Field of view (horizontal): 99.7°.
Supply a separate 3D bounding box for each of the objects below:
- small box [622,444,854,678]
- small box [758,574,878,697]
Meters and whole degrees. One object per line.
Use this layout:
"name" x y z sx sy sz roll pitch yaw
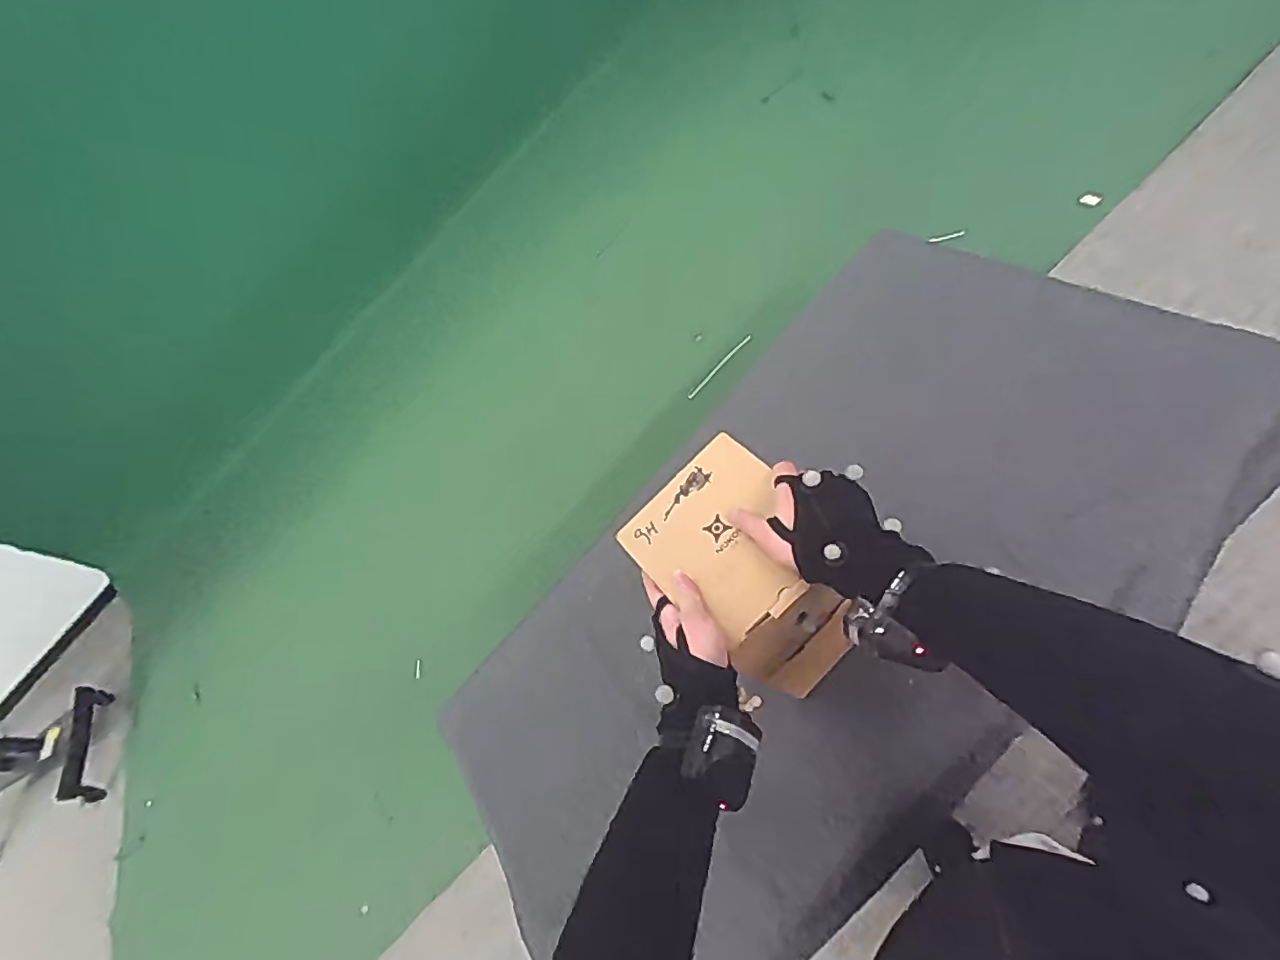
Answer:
"small box" 0.117 0.098 0.600 0.168 0.176 0.179 -43 55 -2
"small box" 0.191 0.168 0.724 0.168 0.176 0.179 -46 50 -1
